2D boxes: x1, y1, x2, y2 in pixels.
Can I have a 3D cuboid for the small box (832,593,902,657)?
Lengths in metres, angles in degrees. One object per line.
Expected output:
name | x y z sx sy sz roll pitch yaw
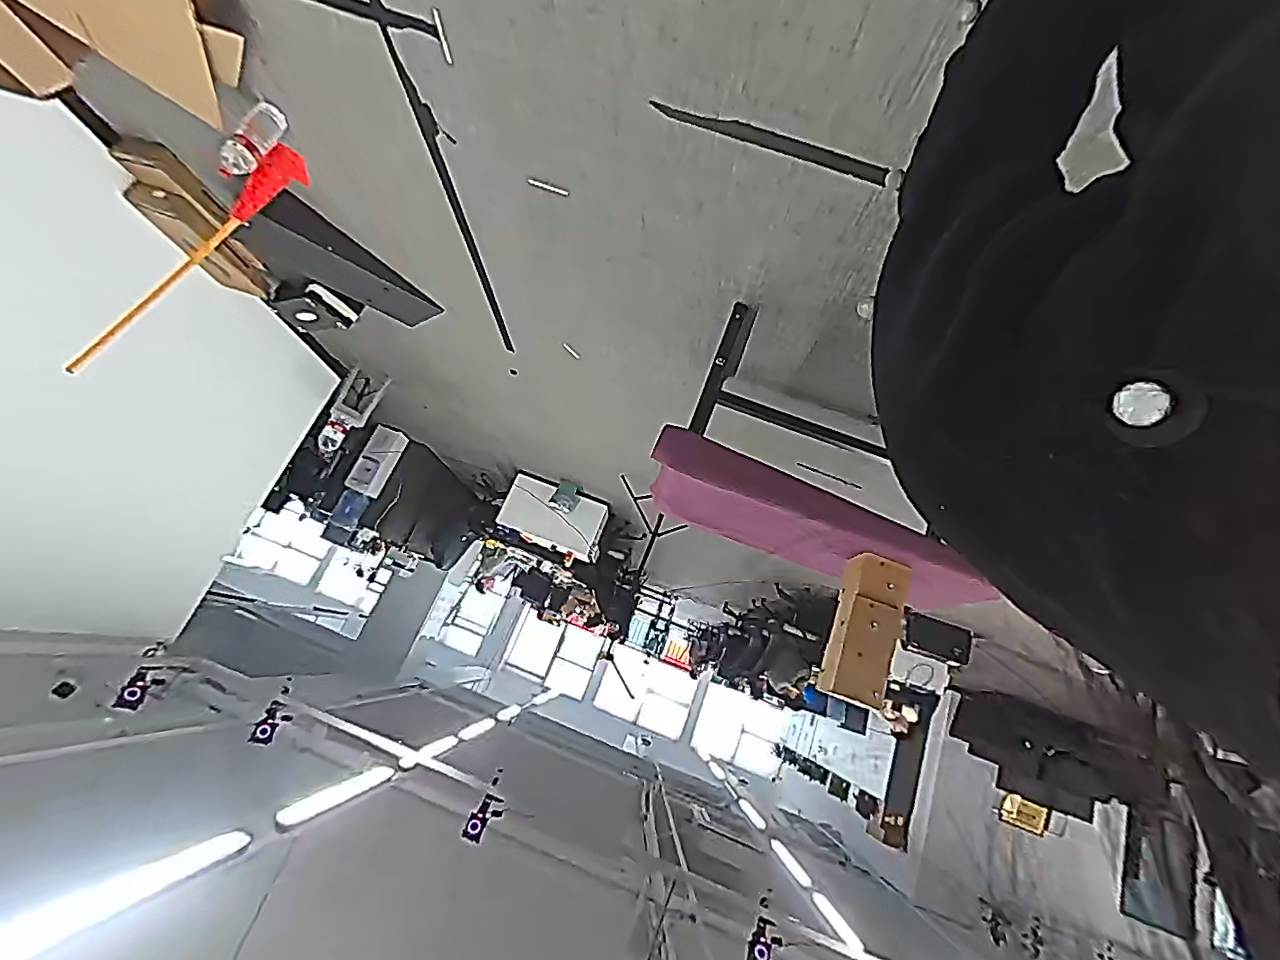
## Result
small box | 0.789 0.503 1.877 0.168 0.176 0.179 19 162 10

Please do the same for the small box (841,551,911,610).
small box | 0.851 0.365 1.945 0.168 0.176 0.179 20 163 6
